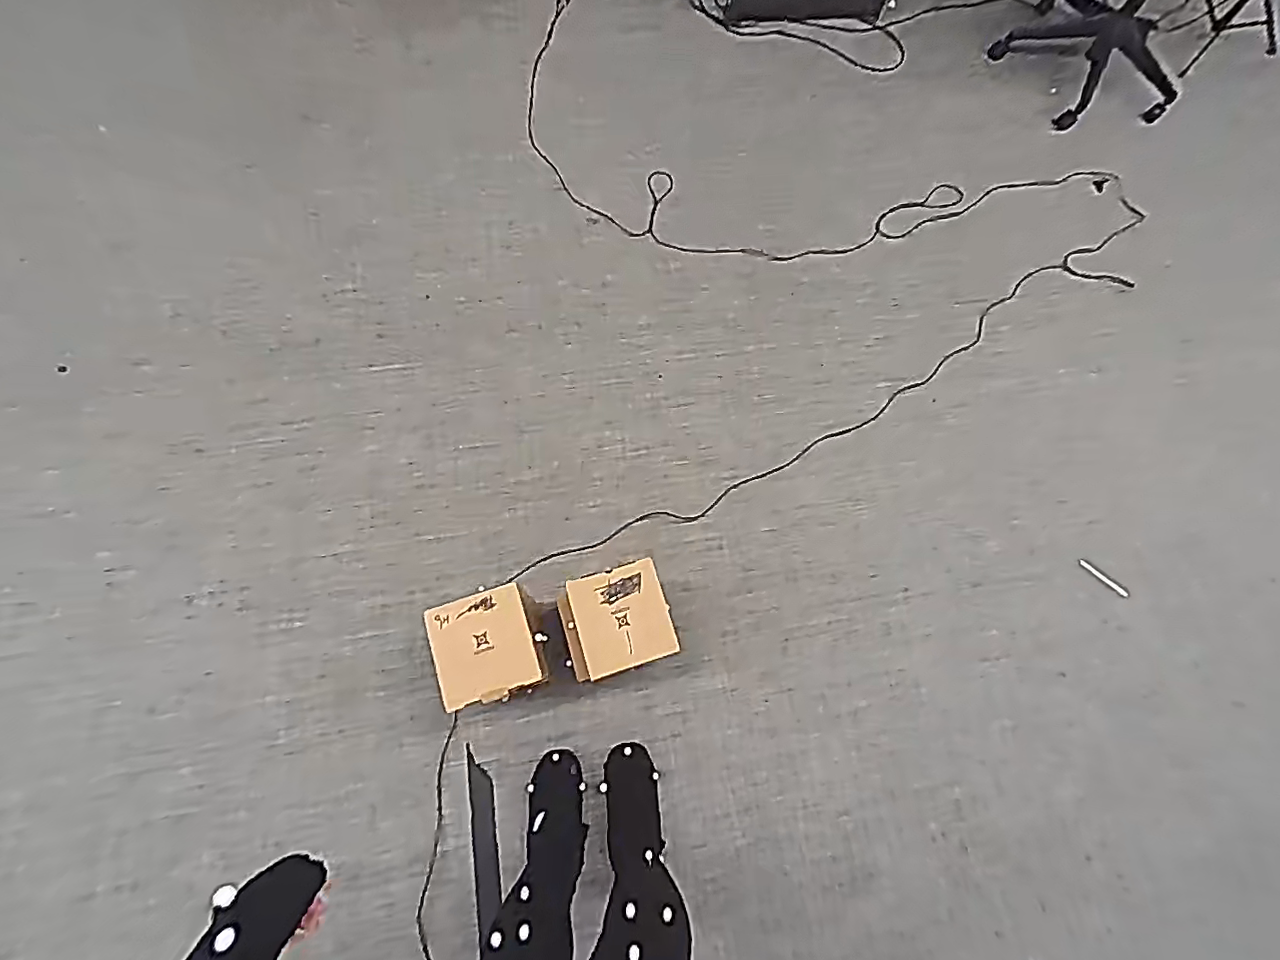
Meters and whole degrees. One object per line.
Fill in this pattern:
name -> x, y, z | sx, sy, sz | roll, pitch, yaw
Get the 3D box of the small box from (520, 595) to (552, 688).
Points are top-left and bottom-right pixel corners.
small box -> -0.288, 0.354, 1.156 | 0.168, 0.176, 0.179 | -12, 74, -9

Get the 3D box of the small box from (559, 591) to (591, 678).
small box -> -0.076, 0.319, 1.184 | 0.168, 0.176, 0.179 | -16, 76, -9

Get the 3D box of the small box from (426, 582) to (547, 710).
small box -> -0.275, 0.301, 1.000 | 0.168, 0.176, 0.179 | -16, 76, -10

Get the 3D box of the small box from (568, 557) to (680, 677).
small box -> -0.038, 0.262, 1.033 | 0.168, 0.176, 0.179 | -15, 76, -9
